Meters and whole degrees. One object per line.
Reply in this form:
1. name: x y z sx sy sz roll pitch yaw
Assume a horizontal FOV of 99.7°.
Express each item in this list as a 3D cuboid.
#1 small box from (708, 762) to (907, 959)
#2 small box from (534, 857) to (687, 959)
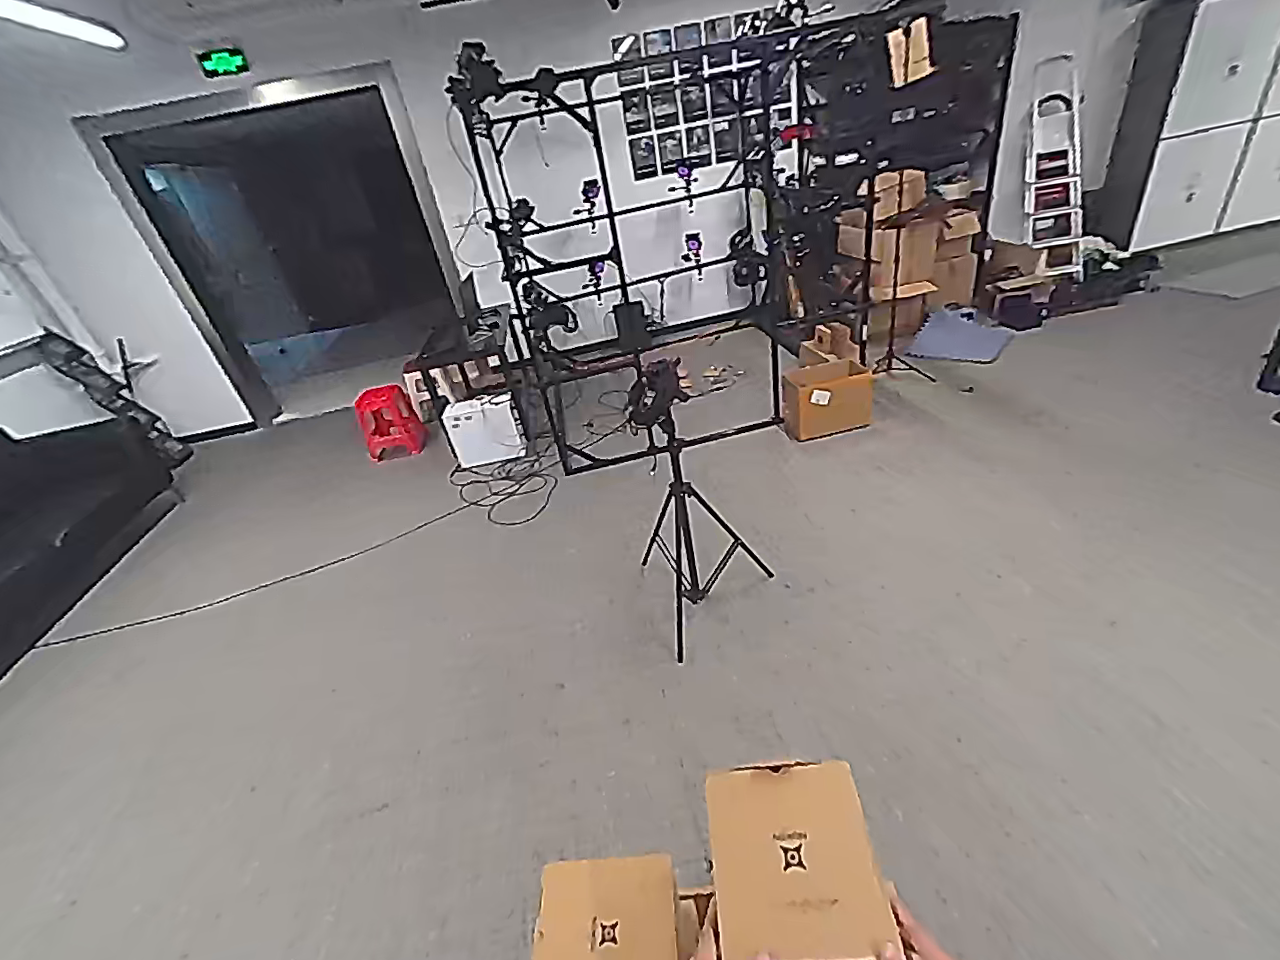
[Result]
1. small box: 0.168 0.441 0.597 0.168 0.176 0.179 -8 38 6
2. small box: -0.029 0.616 0.689 0.179 0.176 0.168 -7 30 4
